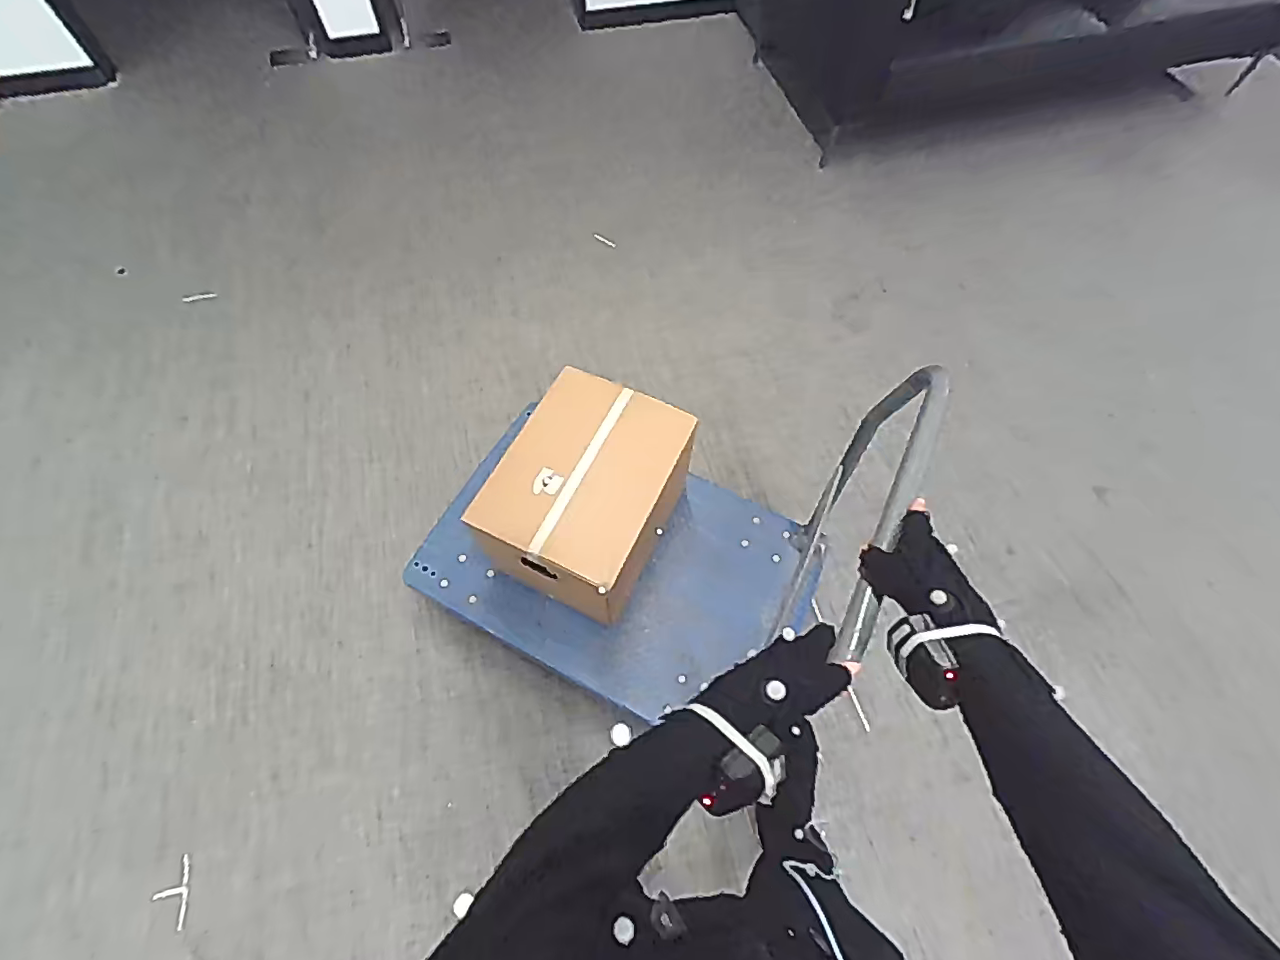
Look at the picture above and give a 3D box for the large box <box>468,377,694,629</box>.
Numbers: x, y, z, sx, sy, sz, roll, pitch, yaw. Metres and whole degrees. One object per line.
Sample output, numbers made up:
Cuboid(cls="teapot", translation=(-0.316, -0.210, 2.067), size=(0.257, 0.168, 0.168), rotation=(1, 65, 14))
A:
Cuboid(cls="large box", translation=(-0.106, 0.057, 1.195), size=(0.320, 0.320, 0.408), rotation=(23, 66, 12))
